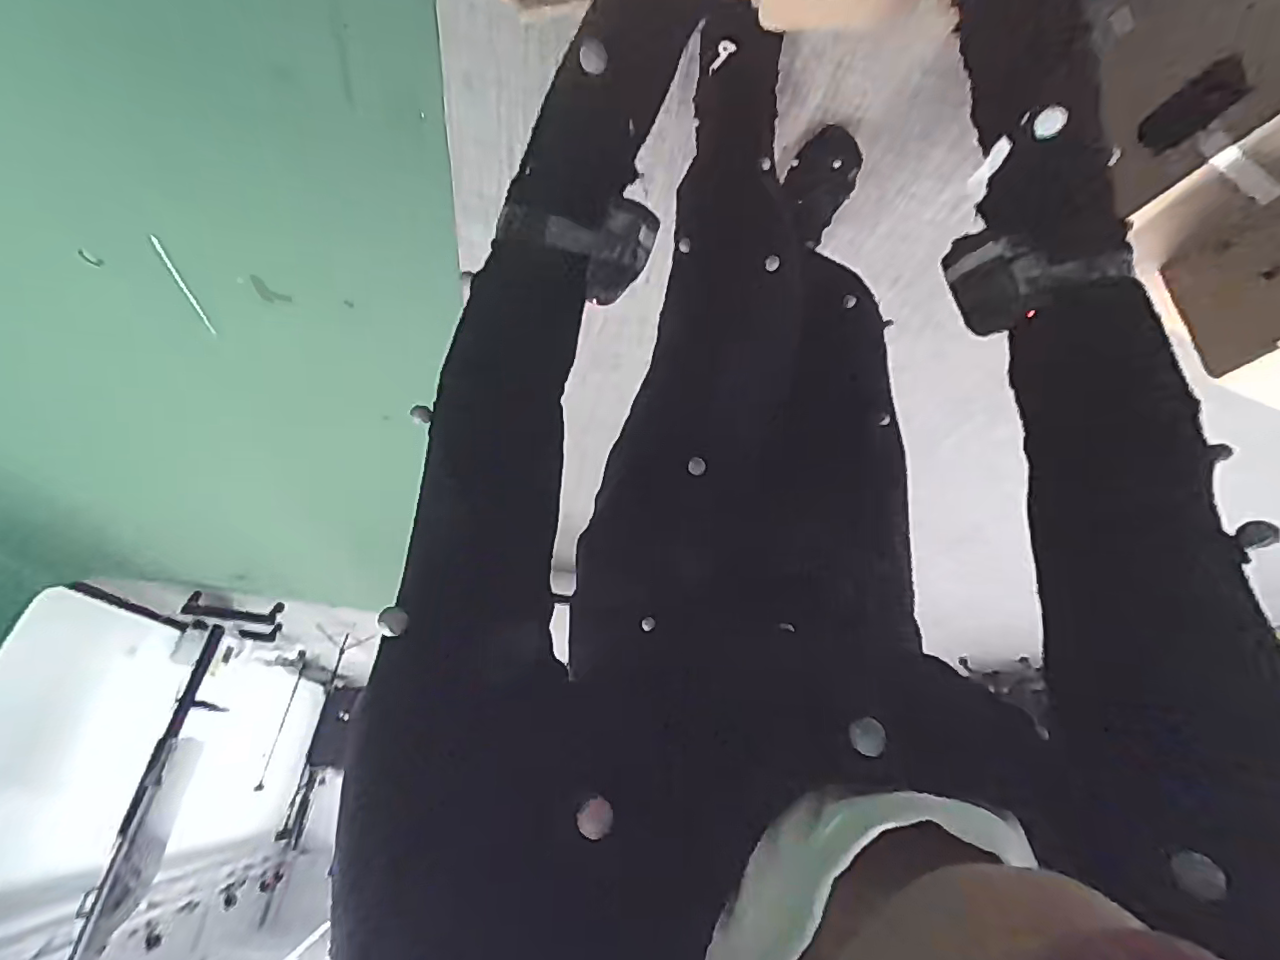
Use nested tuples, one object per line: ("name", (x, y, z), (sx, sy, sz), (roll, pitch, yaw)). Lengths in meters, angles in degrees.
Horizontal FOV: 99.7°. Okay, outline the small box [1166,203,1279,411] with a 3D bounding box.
("small box", (0.738, -0.197, 0.586), (0.179, 0.176, 0.168), (14, 152, -15))
